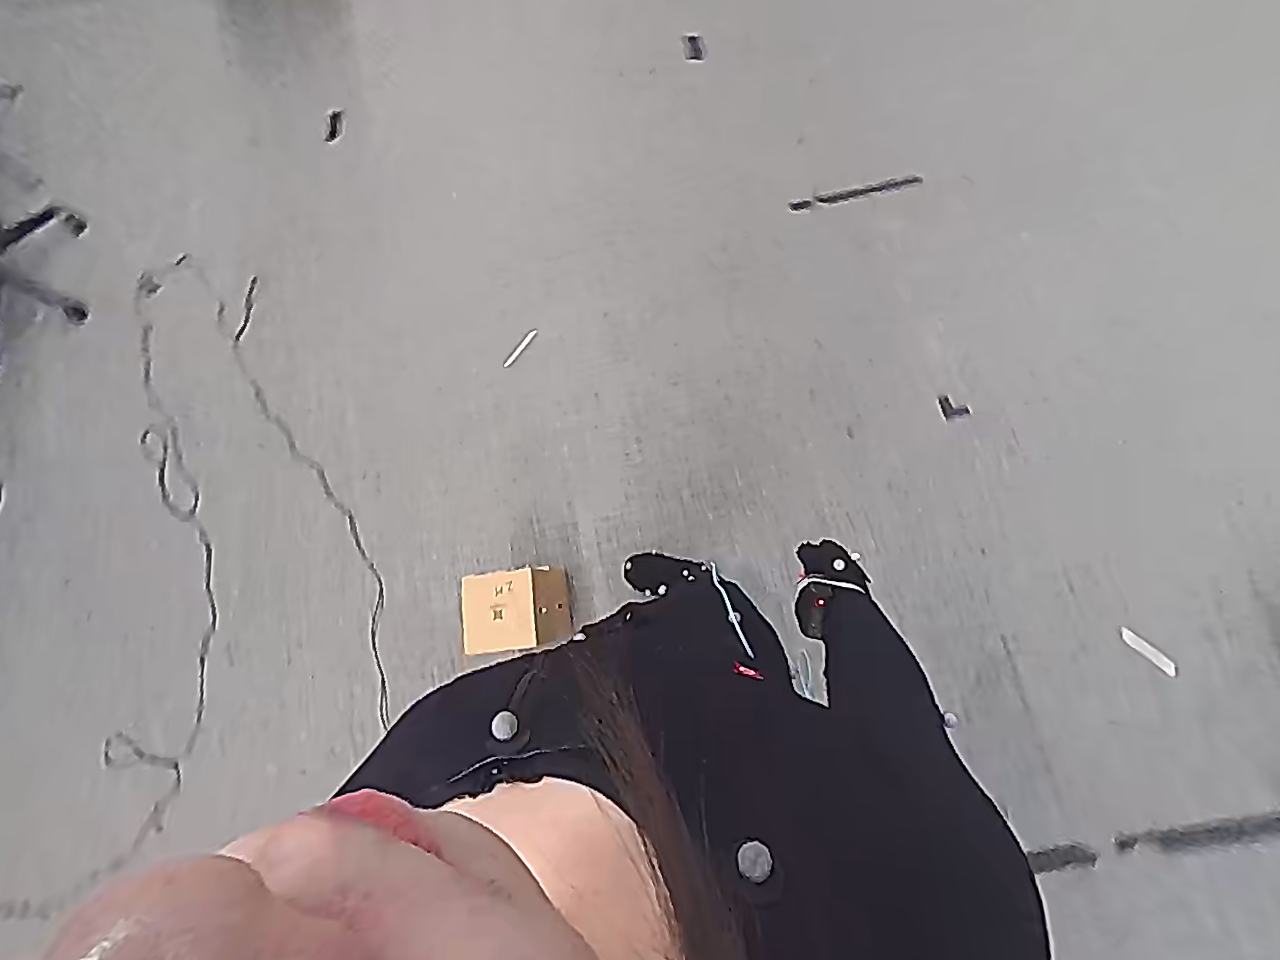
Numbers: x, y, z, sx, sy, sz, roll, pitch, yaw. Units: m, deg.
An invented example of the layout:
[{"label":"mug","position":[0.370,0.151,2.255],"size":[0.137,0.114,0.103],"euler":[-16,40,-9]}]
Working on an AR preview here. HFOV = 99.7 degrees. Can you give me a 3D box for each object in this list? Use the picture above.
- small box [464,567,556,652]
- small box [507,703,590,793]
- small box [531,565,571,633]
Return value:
[{"label":"small box","position":[-0.302,0.303,1.285],"size":[0.168,0.176,0.179],"euler":[-8,78,5]},{"label":"small box","position":[-0.226,0.675,1.376],"size":[0.179,0.176,0.168],"euler":[-7,78,5]},{"label":"small box","position":[-0.288,0.325,1.449],"size":[0.168,0.176,0.179],"euler":[-10,79,4]}]
